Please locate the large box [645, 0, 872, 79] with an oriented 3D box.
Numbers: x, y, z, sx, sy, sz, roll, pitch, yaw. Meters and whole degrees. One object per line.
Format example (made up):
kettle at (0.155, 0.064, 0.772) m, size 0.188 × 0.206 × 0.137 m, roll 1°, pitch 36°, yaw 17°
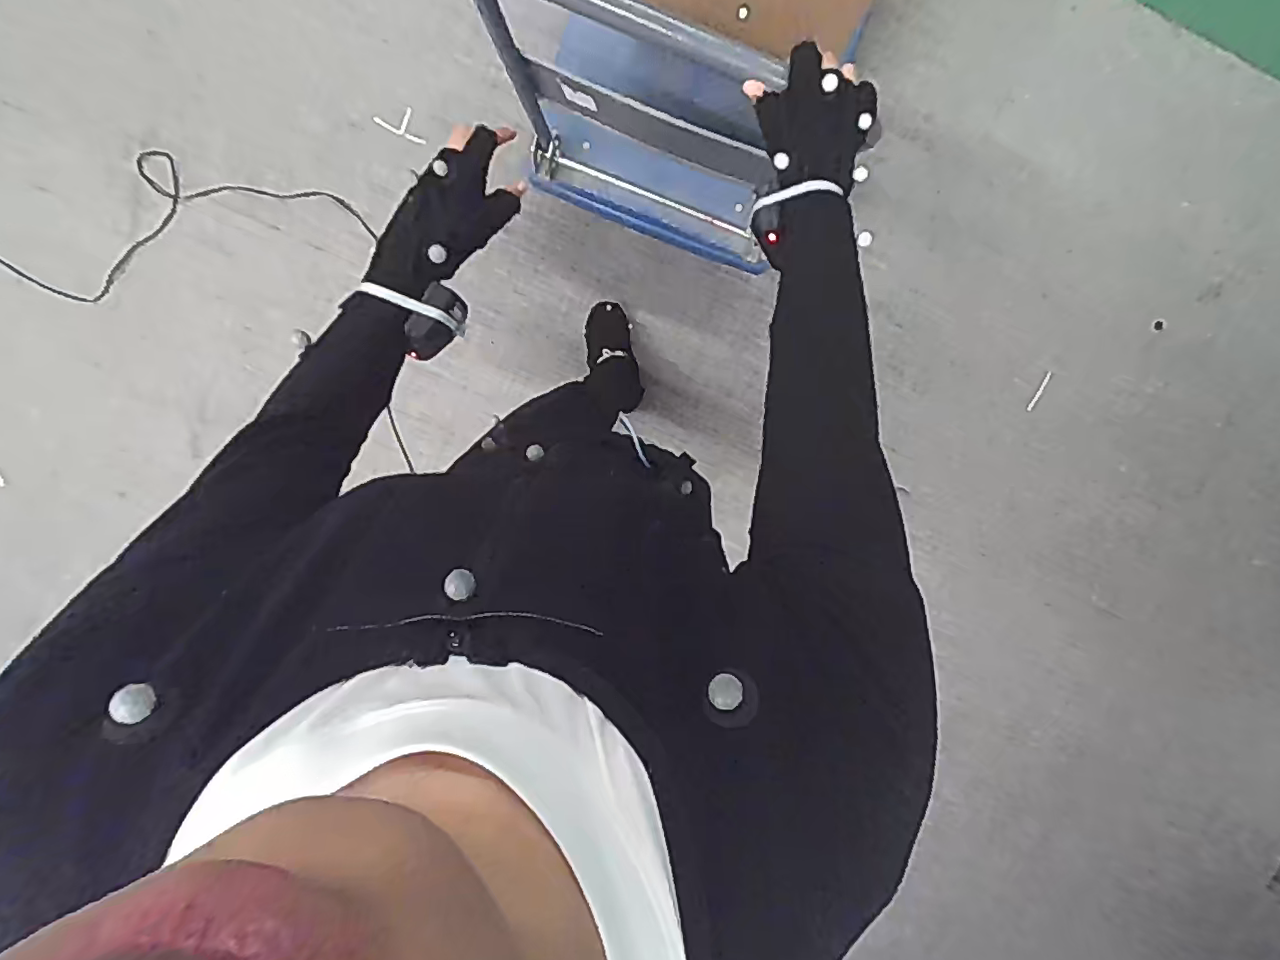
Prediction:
large box at (0.241, -1.004, 0.949) m, size 0.408 × 0.320 × 0.320 m, roll 19°, pitch 99°, yaw -2°
